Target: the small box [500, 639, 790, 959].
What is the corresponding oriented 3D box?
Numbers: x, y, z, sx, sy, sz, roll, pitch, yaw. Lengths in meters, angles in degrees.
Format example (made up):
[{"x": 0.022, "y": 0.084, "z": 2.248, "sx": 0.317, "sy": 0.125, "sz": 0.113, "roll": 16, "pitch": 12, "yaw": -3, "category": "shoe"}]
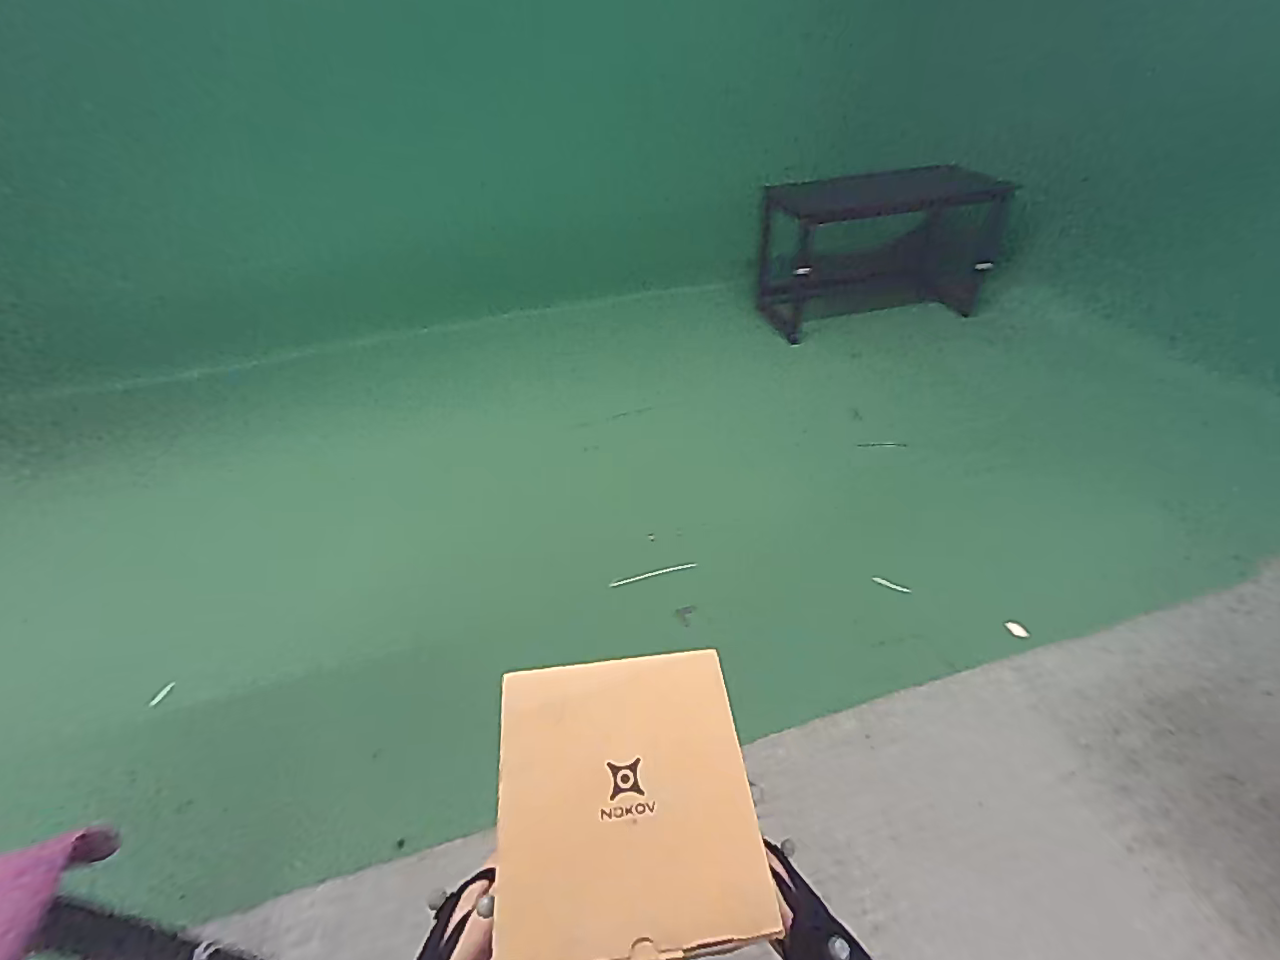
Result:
[{"x": -0.008, "y": 0.245, "z": 0.412, "sx": 0.168, "sy": 0.176, "sz": 0.179, "roll": -4, "pitch": 48, "yaw": -6, "category": "small box"}]
